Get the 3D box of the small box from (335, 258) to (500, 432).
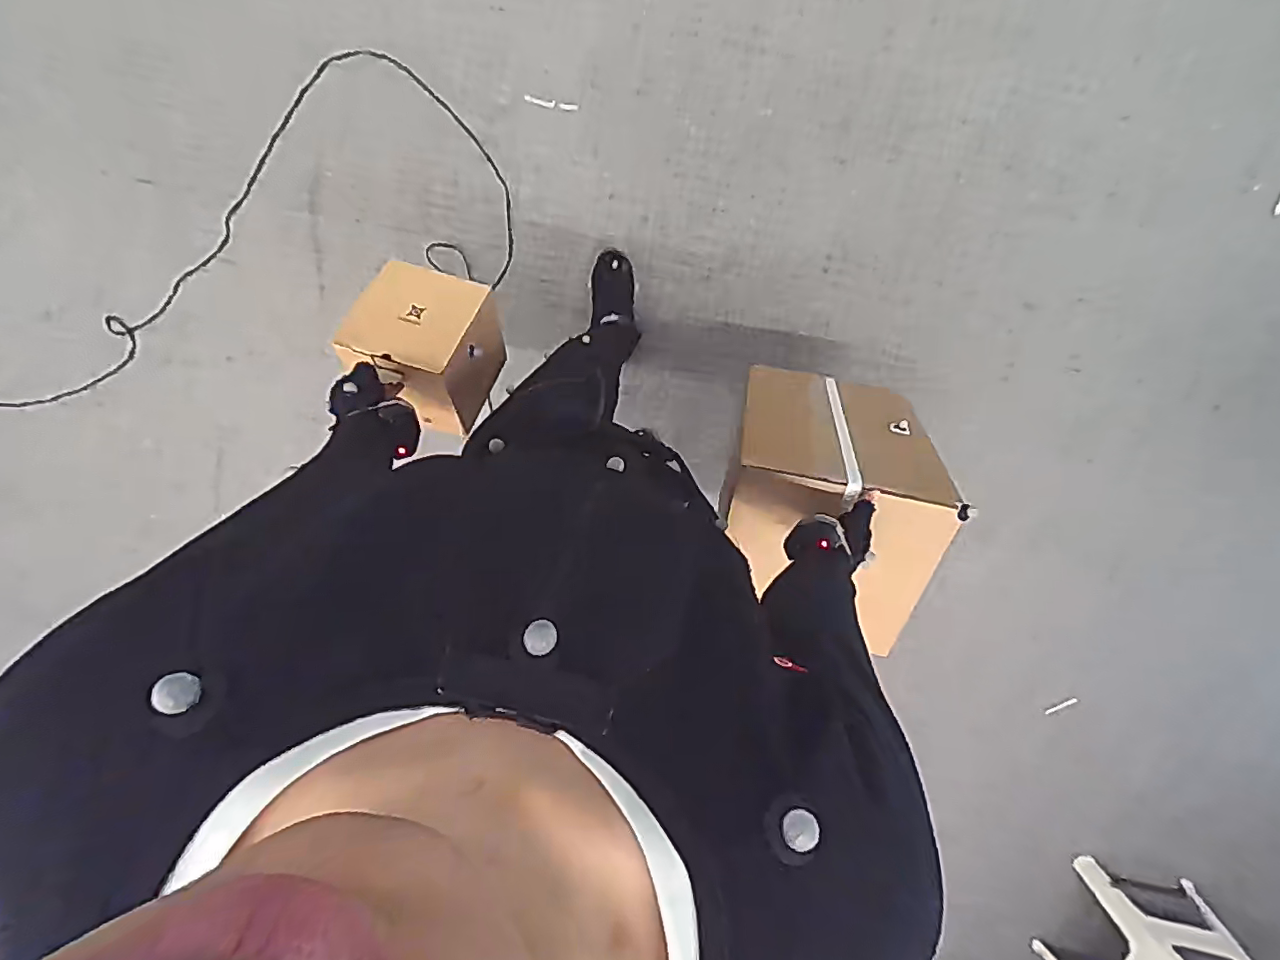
[{"bbox_3d":[-0.332,-0.206,0.854,0.168,0.176,0.179,17,65,3],"label":"small box"}]
